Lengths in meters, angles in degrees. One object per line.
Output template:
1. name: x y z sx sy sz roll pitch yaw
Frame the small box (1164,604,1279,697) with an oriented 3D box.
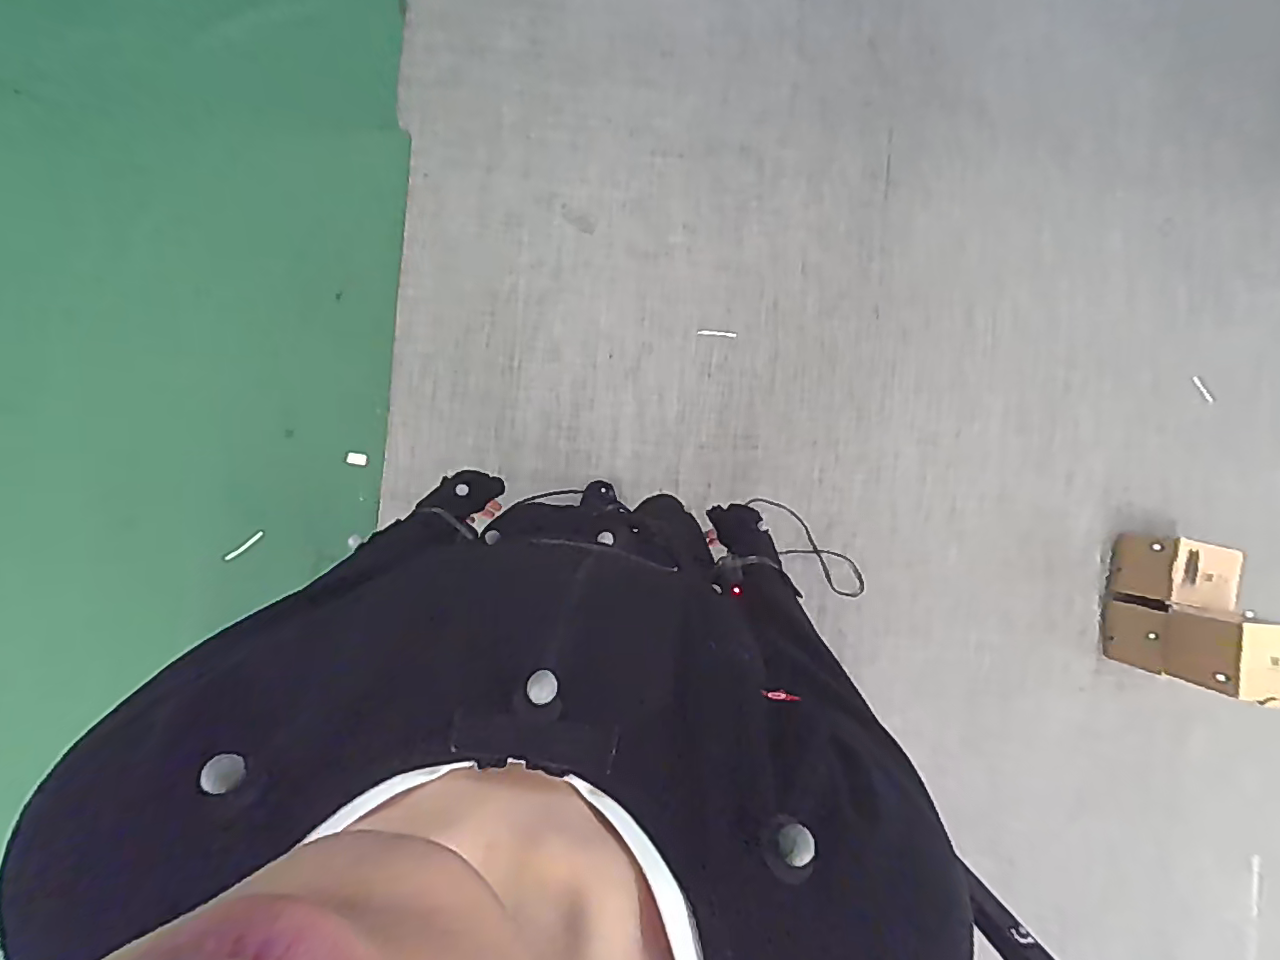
1. small box: 1.410 0.400 1.288 0.168 0.176 0.179 4 90 -2
